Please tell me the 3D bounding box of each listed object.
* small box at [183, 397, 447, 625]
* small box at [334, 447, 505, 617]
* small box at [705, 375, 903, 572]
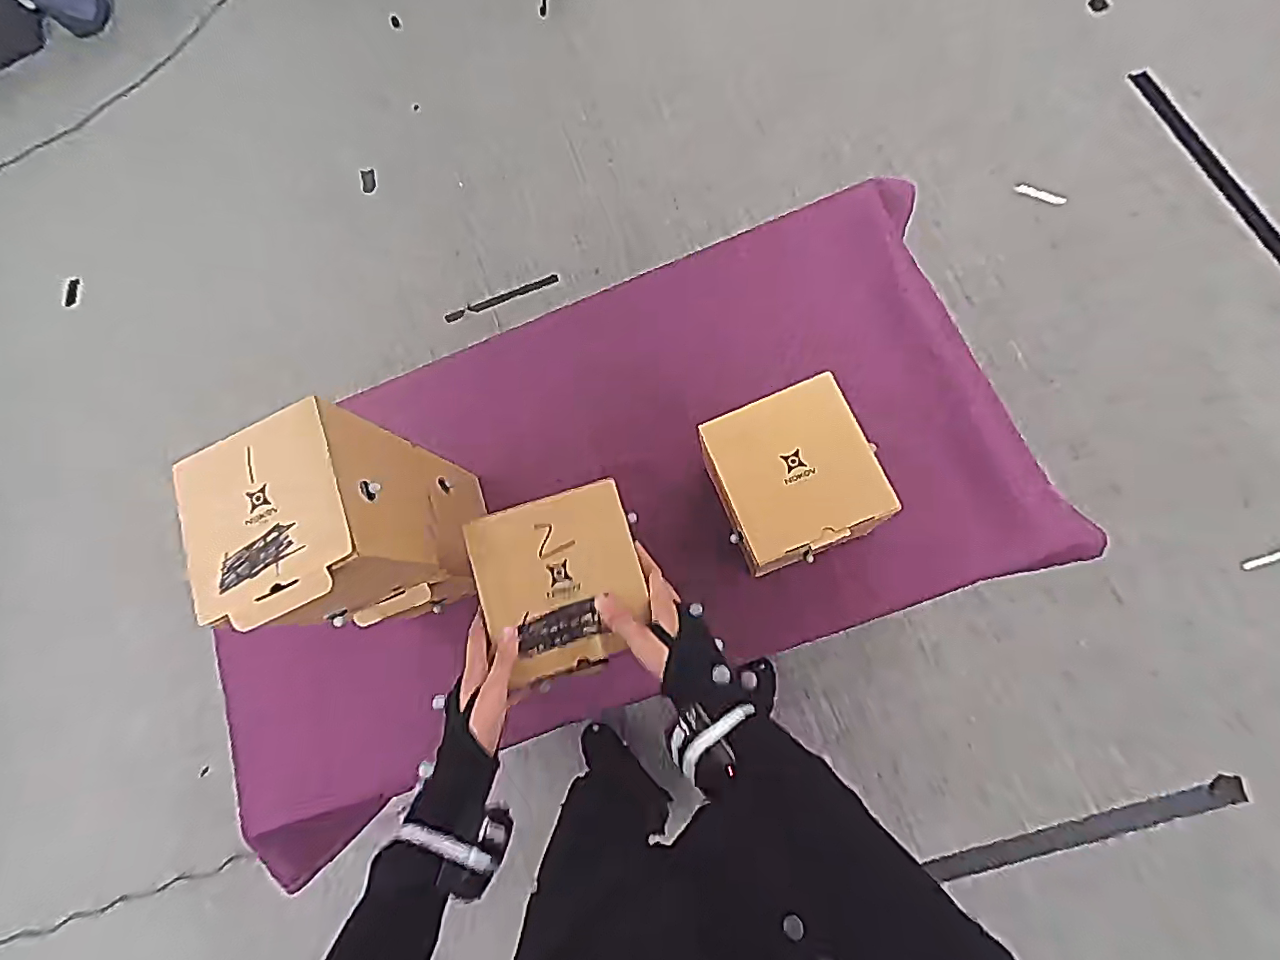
[{"bbox_3d":[-0.339,0.043,0.591,0.168,0.176,0.179,-25,73,3],"label":"small box"},{"bbox_3d":[-0.309,0.082,0.747,0.168,0.176,0.179,-21,74,5],"label":"small box"},{"bbox_3d":[0.189,0.003,0.678,0.168,0.176,0.179,-22,74,4],"label":"small box"}]
